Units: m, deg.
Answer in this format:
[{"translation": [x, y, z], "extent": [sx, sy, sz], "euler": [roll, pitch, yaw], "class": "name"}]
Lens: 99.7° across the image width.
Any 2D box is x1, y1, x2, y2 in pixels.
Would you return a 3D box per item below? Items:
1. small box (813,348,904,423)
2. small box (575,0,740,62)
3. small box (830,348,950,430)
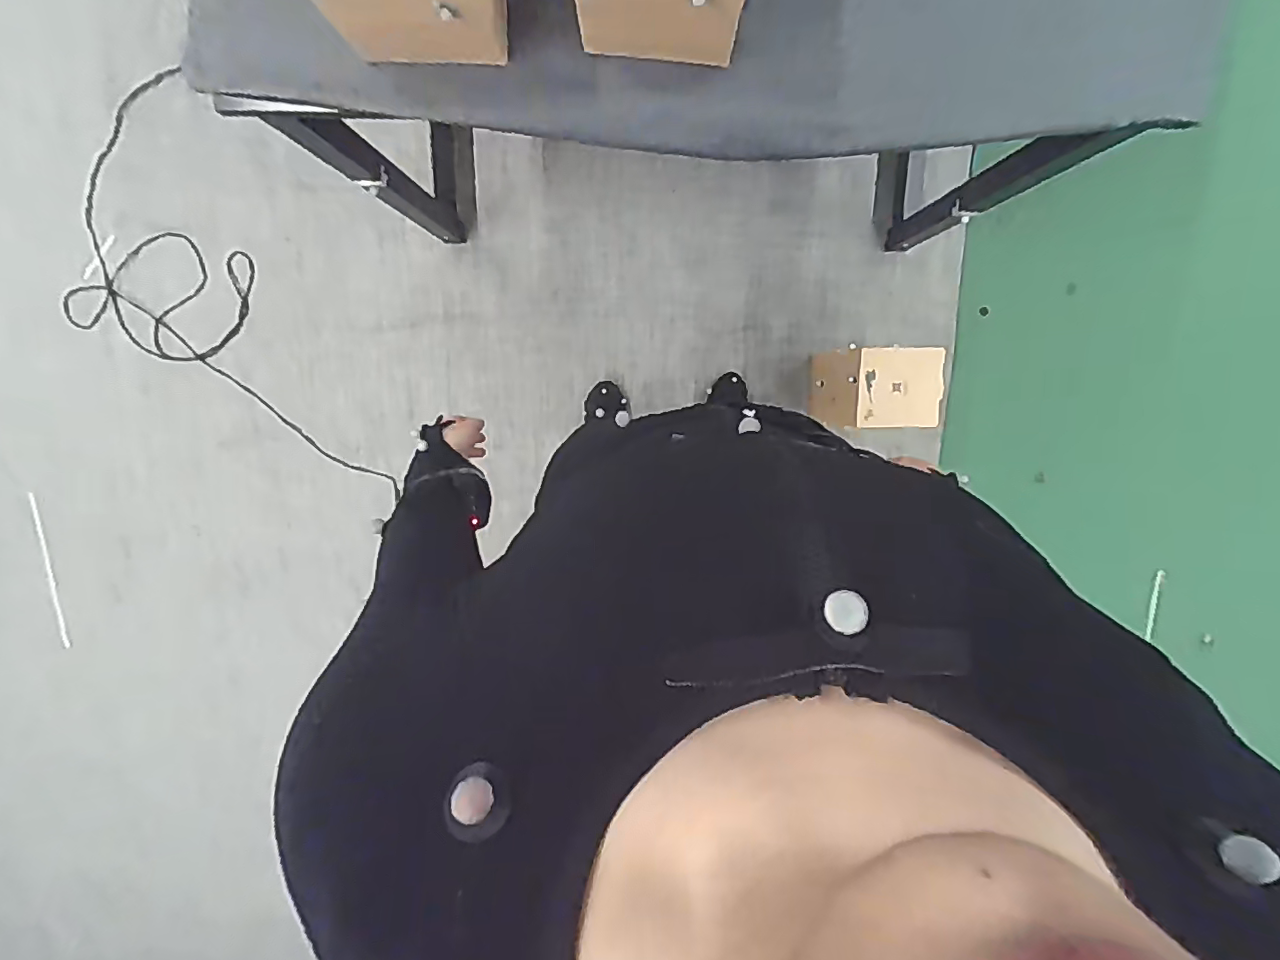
[{"translation": [0.538, -0.237, 1.349], "extent": [0.168, 0.176, 0.179], "euler": [-1, 100, 1], "class": "small box"}, {"translation": [0.025, -0.568, 0.552], "extent": [0.179, 0.176, 0.168], "euler": [6, 99, 1], "class": "small box"}, {"translation": [0.540, -0.203, 1.187], "extent": [0.179, 0.176, 0.168], "euler": [1, 102, 0], "class": "small box"}]
